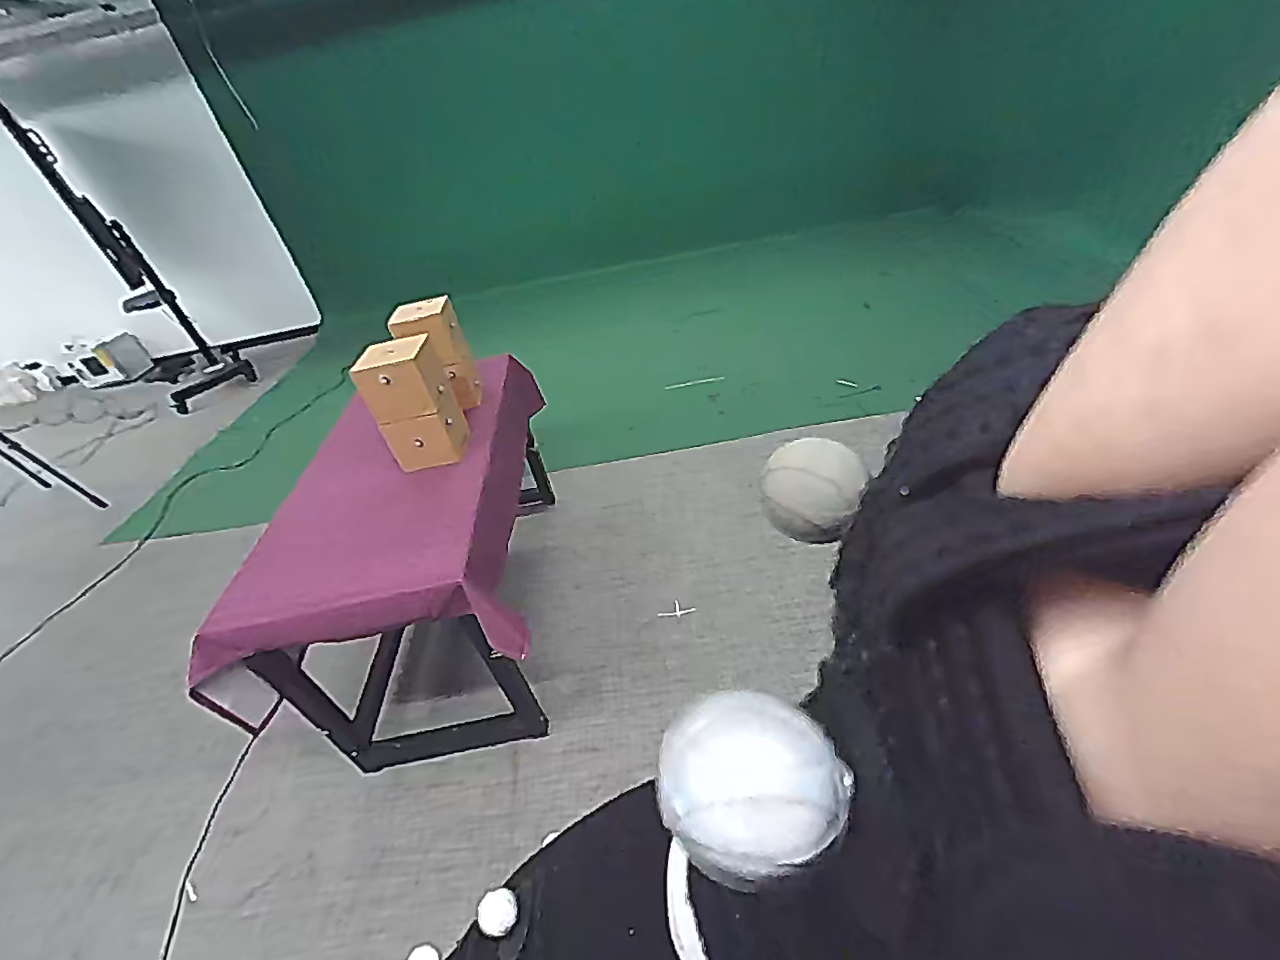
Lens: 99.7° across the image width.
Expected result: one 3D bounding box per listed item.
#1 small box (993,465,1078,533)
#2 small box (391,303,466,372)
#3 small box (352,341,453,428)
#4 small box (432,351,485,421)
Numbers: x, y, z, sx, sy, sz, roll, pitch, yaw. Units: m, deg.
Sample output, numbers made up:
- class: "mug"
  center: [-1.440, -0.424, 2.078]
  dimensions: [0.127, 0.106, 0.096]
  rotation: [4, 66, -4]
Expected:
- class: "small box"
  center: [1.405, 0.074, 1.933]
  dimensions: [0.168, 0.176, 0.179]
  rotation: [-9, 37, 4]
- class: "small box"
  center: [-0.677, -0.450, 1.754]
  dimensions: [0.168, 0.176, 0.179]
  rotation: [-13, 37, -1]
- class: "small box"
  center: [-0.645, -0.259, 1.491]
  dimensions: [0.179, 0.176, 0.168]
  rotation: [-11, 37, 4]
- class: "small box"
  center: [-0.651, -0.320, 1.851]
  dimensions: [0.179, 0.176, 0.168]
  rotation: [-13, 36, -1]
